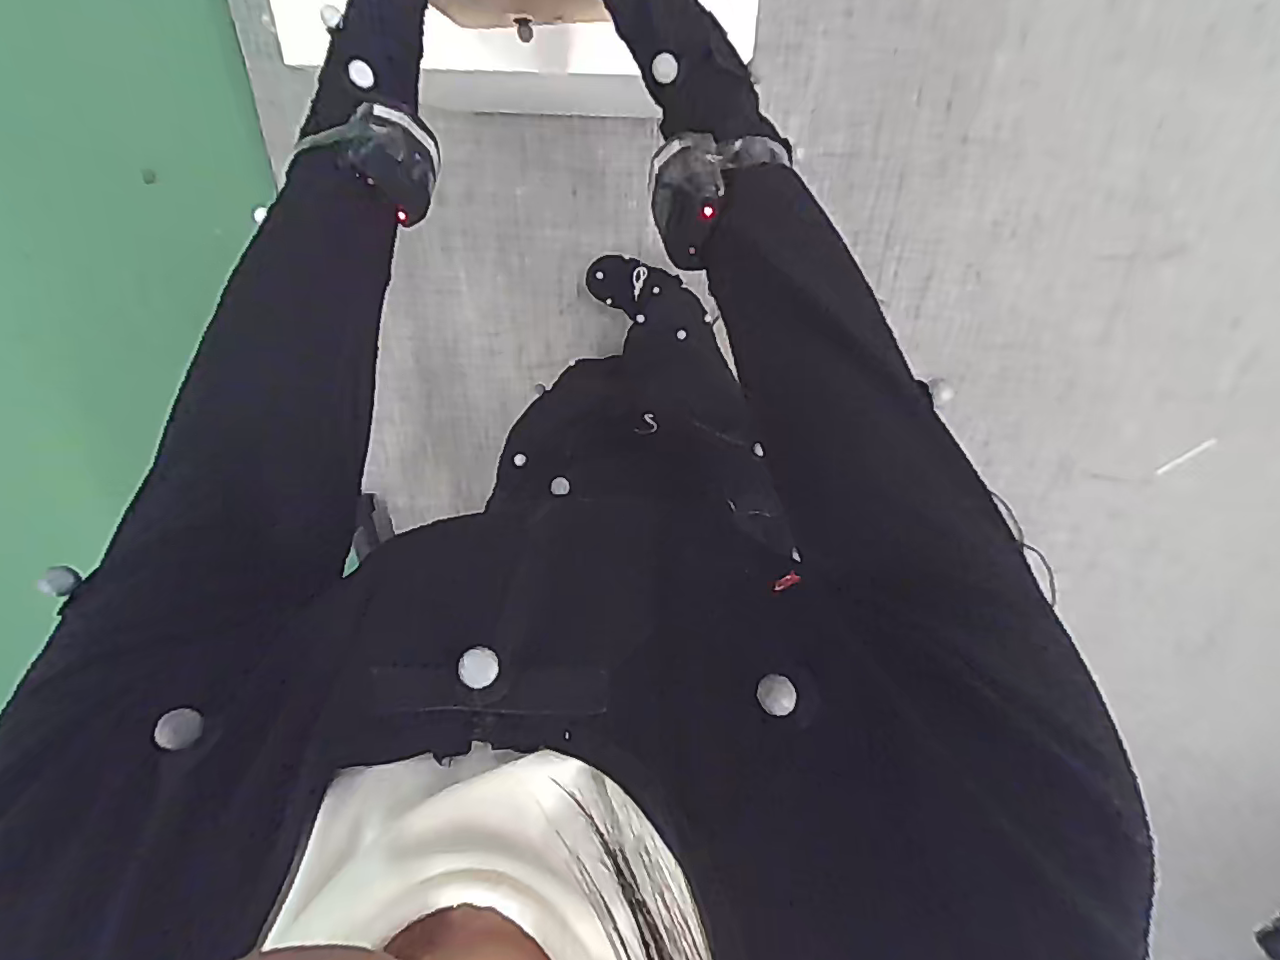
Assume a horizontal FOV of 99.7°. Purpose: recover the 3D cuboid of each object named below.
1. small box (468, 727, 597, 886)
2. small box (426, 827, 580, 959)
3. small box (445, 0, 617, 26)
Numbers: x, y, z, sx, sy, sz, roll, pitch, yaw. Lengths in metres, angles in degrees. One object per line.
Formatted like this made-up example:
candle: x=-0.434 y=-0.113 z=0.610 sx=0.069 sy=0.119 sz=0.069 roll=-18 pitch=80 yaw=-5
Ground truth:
small box: x=-0.166 y=0.534 z=0.894 sx=0.179 sy=0.176 sz=0.168 roll=5 pitch=121 yaw=1
small box: x=-0.179 y=0.622 z=0.755 sx=0.168 sy=0.176 sz=0.179 roll=5 pitch=123 yaw=2
small box: x=-0.111 y=-0.510 z=0.447 sx=0.168 sy=0.176 sz=0.179 roll=-1 pitch=121 yaw=5
